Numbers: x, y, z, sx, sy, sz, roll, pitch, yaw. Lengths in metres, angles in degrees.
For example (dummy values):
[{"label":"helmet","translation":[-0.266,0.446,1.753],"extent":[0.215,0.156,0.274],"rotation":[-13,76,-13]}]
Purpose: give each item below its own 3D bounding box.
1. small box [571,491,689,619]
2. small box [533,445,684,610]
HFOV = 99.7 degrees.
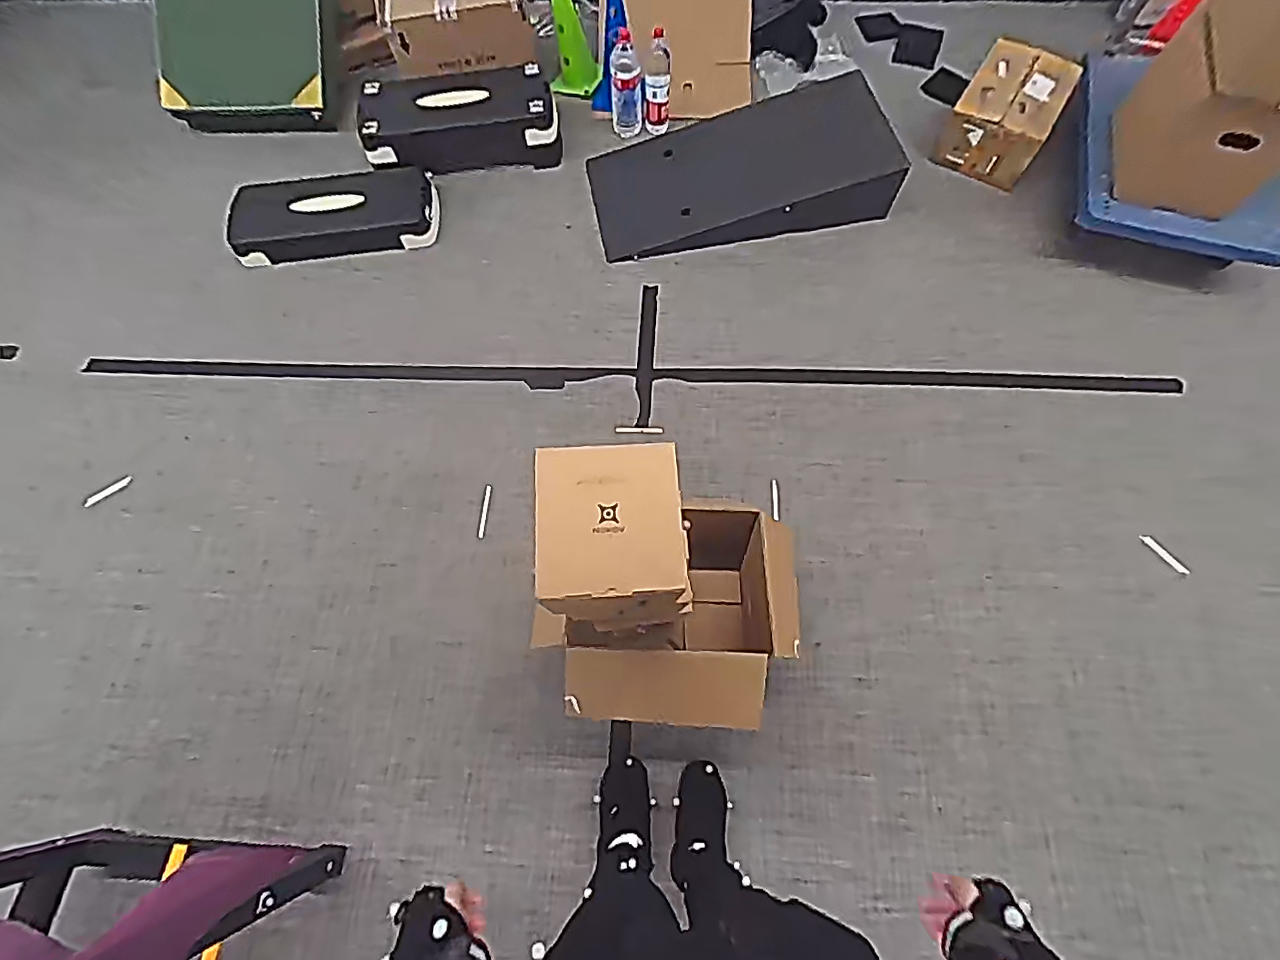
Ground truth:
[{"label":"small box","translation":[-0.026,0.121,0.834],"extent":[0.179,0.176,0.168],"rotation":[-4,72,-4]},{"label":"small box","translation":[-0.039,0.069,0.679],"extent":[0.168,0.176,0.179],"rotation":[-2,71,-4]}]
